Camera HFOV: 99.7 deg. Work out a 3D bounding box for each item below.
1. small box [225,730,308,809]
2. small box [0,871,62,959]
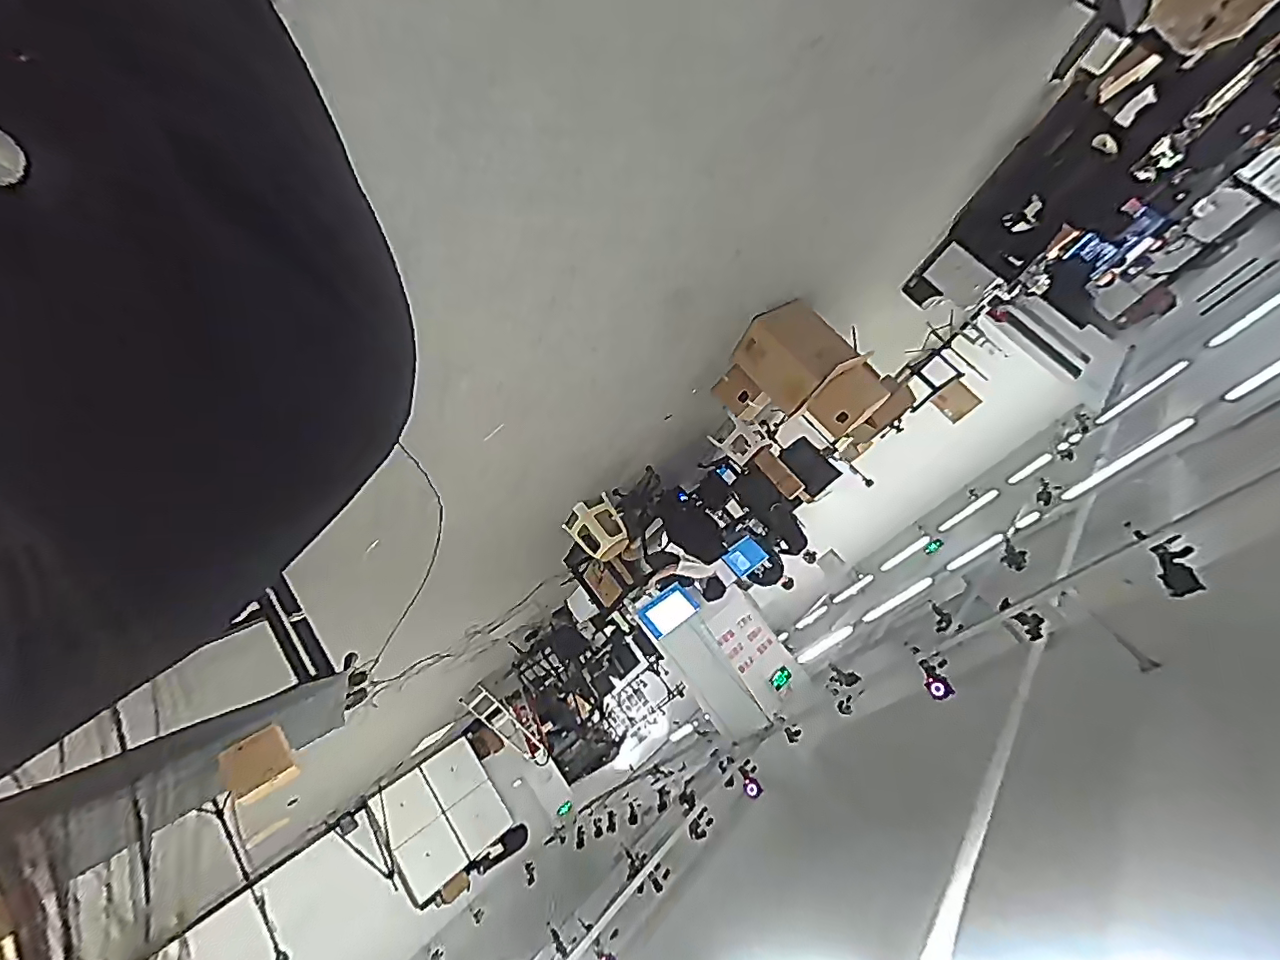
[{"bbox_3d":[-1.249,0.968,1.813,0.168,0.176,0.179,-29,162,-35],"label":"small box"},{"bbox_3d":[-1.679,1.170,1.418,0.168,0.176,0.179,-26,158,-43],"label":"small box"}]
